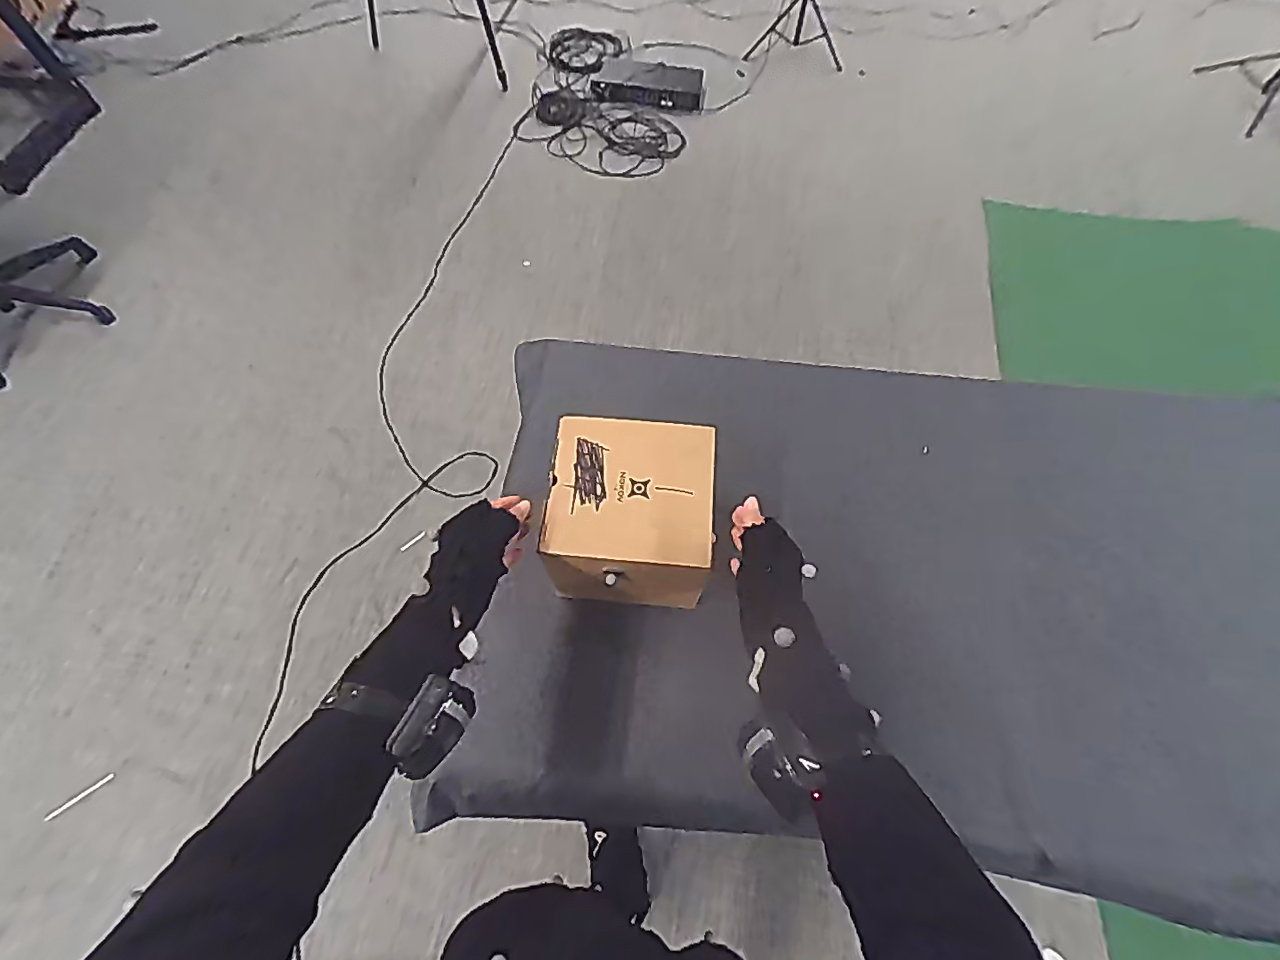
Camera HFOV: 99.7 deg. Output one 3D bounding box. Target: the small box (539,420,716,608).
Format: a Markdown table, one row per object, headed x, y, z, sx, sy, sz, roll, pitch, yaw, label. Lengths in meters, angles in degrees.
| x | y | z | sx | sy | sz | roll | pitch | yaw | label |
| --- | --- | --- | --- | --- | --- | --- | --- | --- | --- |
| -0.008 | 0.048 | 0.642 | 0.179 | 0.176 | 0.168 | 5 | 64 | 2 | small box |
